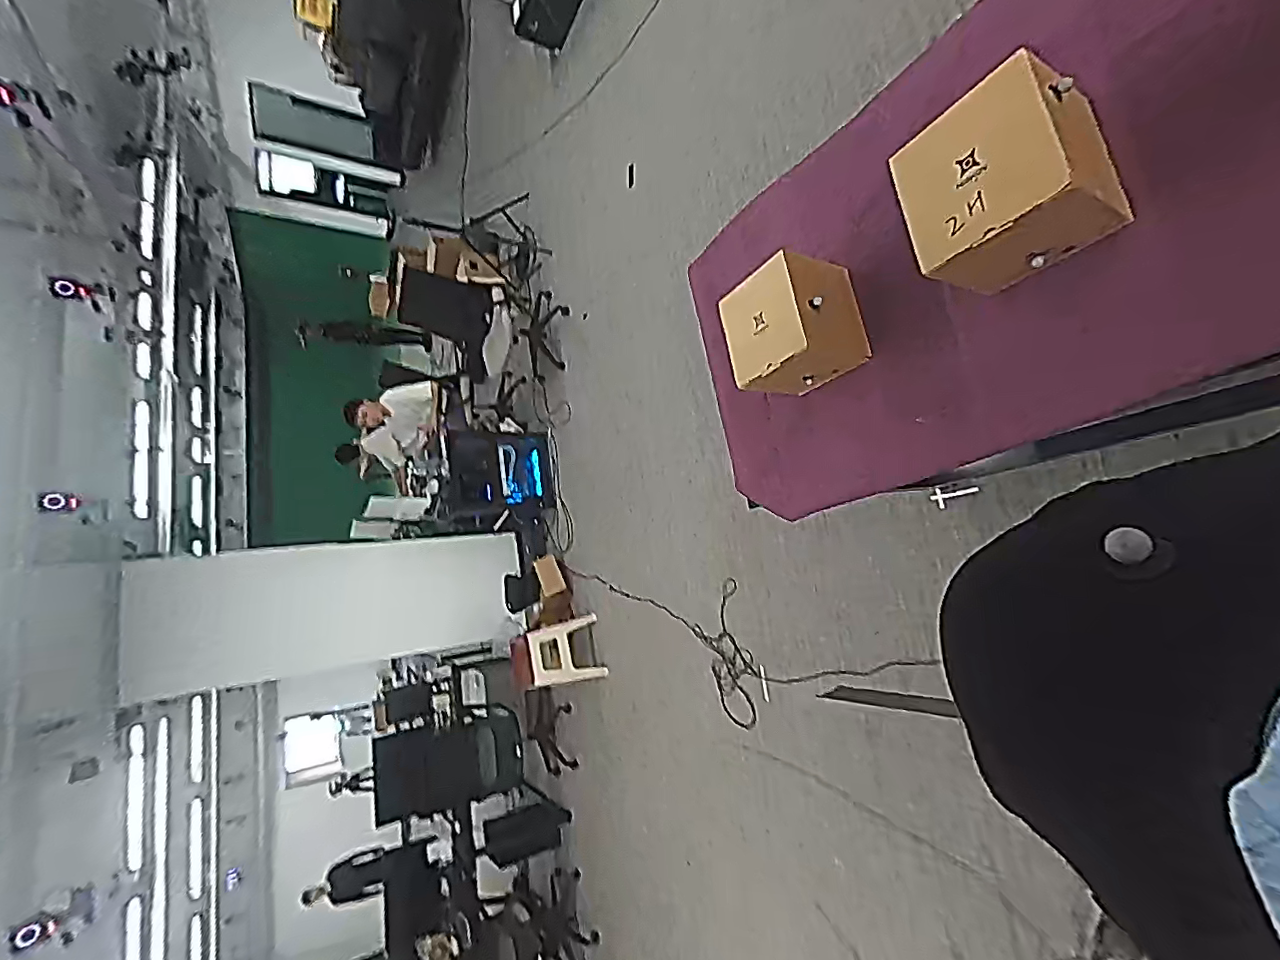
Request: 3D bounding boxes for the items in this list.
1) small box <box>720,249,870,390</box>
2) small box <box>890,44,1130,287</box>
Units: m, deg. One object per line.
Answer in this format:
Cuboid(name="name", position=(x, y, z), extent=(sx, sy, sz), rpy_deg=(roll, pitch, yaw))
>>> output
Cuboid(name="small box", position=(0.272, -0.271, 0.956), extent=(0.168, 0.176, 0.179), rpy_deg=(-28, 69, 55))
Cuboid(name="small box", position=(0.447, -0.364, 0.663), extent=(0.168, 0.176, 0.179), rpy_deg=(-28, 69, 56))
